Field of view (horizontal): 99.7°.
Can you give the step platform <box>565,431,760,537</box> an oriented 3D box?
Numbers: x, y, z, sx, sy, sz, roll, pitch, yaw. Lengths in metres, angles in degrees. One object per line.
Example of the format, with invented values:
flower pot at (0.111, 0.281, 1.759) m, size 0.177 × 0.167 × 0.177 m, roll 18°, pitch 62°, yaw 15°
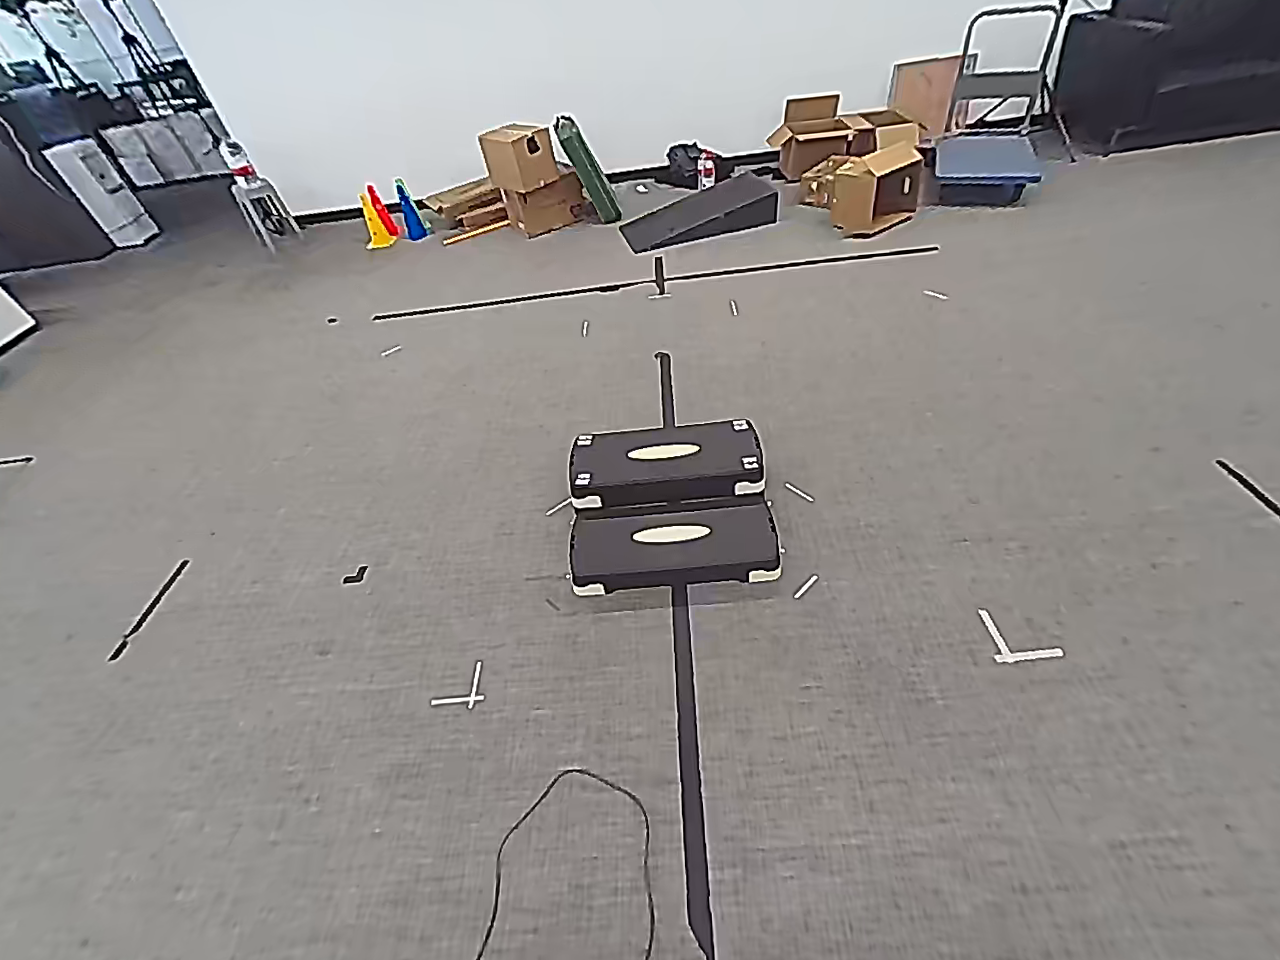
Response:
step platform at (0.075, 0.009, 1.927) m, size 0.684 × 0.204 × 0.286 m, roll -6°, pitch 45°, yaw 3°
